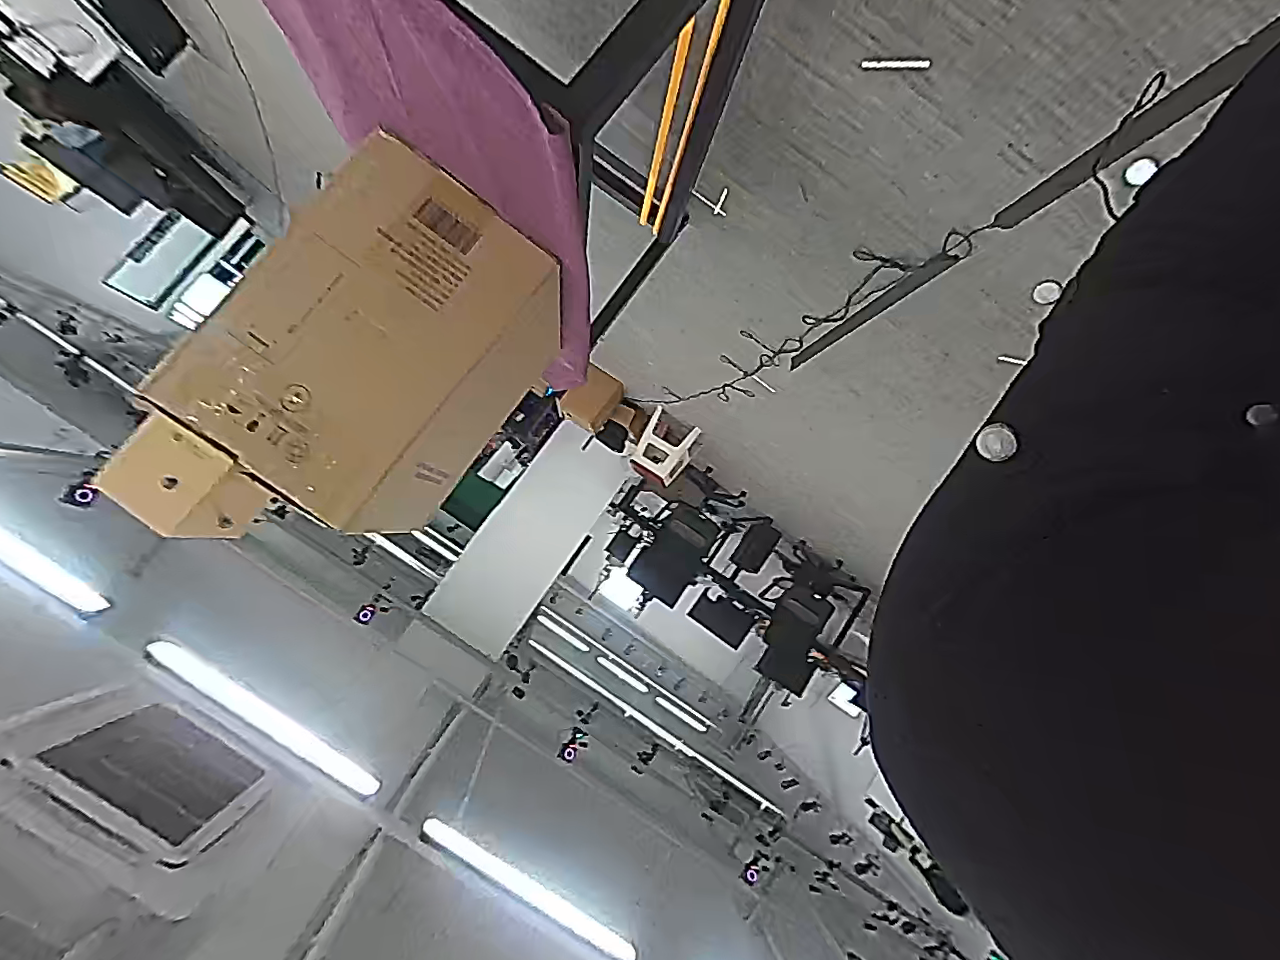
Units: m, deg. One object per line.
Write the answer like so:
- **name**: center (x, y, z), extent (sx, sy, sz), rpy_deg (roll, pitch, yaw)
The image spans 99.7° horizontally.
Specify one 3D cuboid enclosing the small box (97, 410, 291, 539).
- **small box**: center (-0.800, -0.008, 0.992), extent (0.168, 0.176, 0.179), rpy_deg (35, 173, 1)
